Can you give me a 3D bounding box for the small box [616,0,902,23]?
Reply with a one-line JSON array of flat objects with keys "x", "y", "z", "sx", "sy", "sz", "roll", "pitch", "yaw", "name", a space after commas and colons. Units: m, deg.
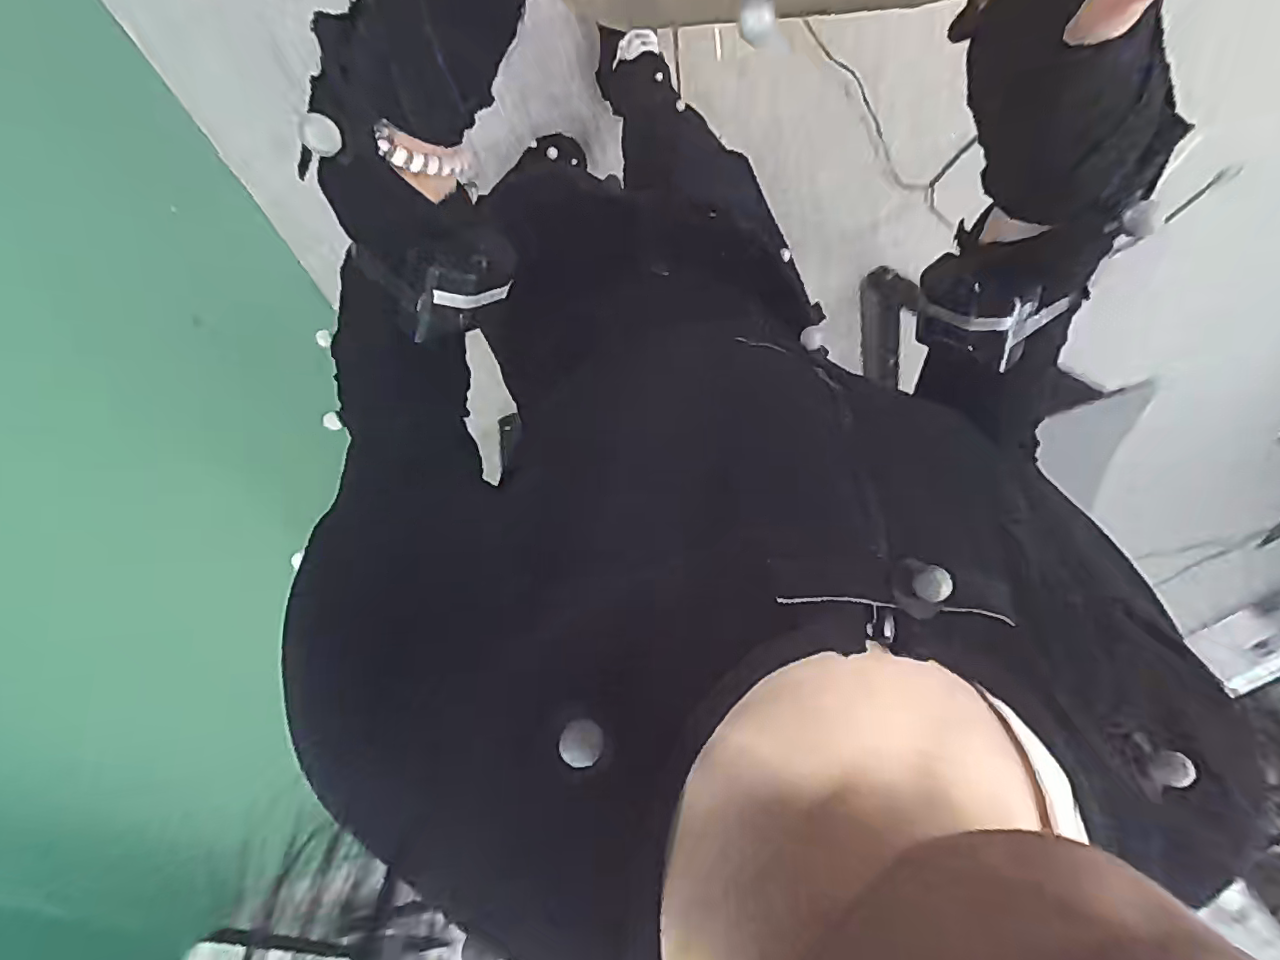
[{"x": 0.051, "y": -0.260, "z": 0.155, "sx": 0.168, "sy": 0.176, "sz": 0.179, "roll": 0, "pitch": 125, "yaw": 6, "name": "small box"}]
